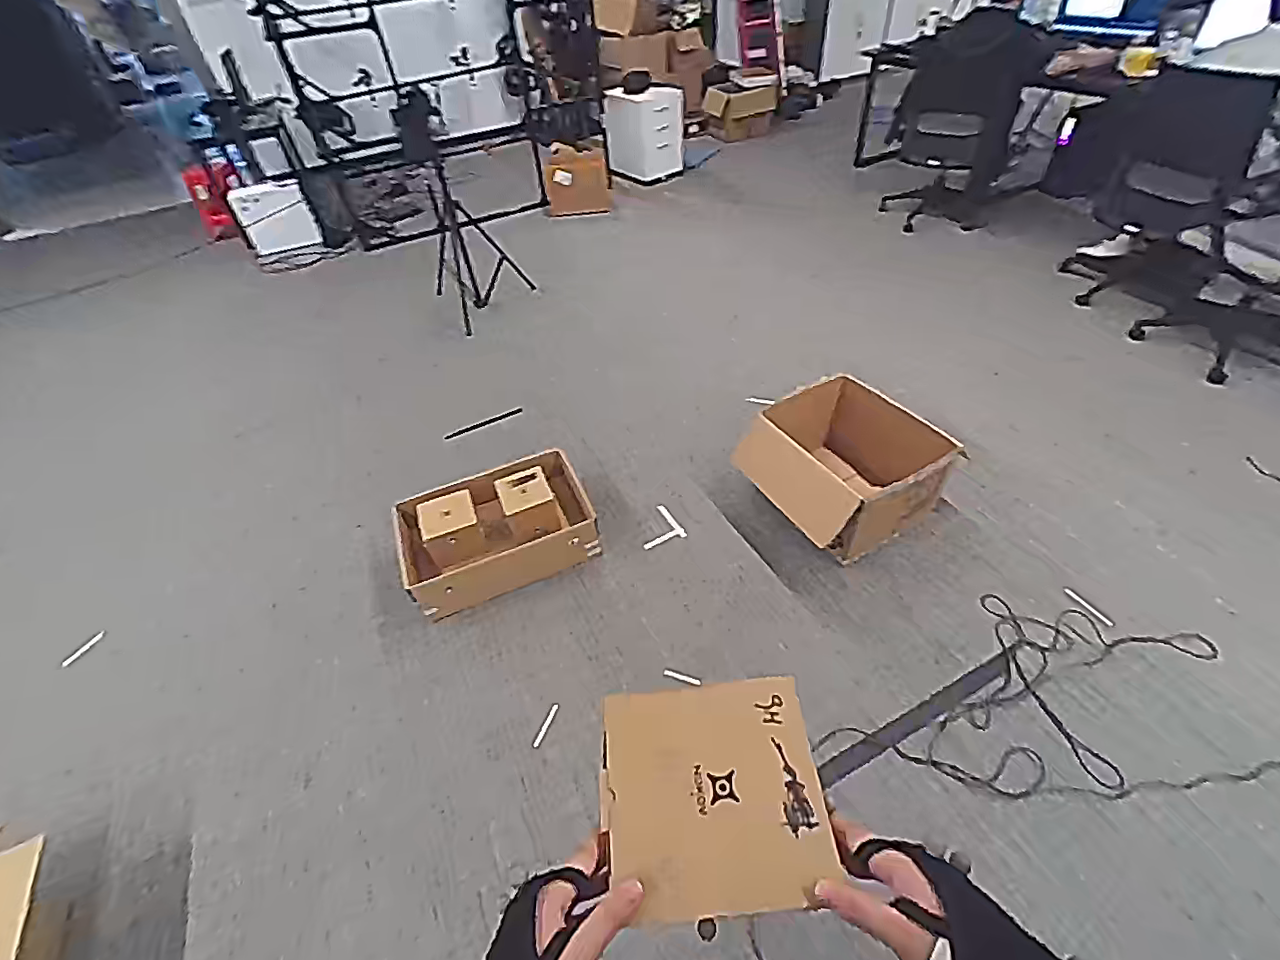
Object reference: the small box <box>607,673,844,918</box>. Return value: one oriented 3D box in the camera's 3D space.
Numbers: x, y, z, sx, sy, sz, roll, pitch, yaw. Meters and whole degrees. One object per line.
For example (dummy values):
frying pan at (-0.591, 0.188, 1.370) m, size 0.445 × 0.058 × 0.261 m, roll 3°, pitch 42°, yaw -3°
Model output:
small box at (0.068, 0.301, 0.510) m, size 0.179 × 0.176 × 0.168 m, roll -6°, pitch 50°, yaw 1°

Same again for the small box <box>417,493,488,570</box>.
small box at (-0.637, 0.179, 1.841) m, size 0.179 × 0.176 × 0.168 m, roll -19°, pitch 49°, yaw -15°
